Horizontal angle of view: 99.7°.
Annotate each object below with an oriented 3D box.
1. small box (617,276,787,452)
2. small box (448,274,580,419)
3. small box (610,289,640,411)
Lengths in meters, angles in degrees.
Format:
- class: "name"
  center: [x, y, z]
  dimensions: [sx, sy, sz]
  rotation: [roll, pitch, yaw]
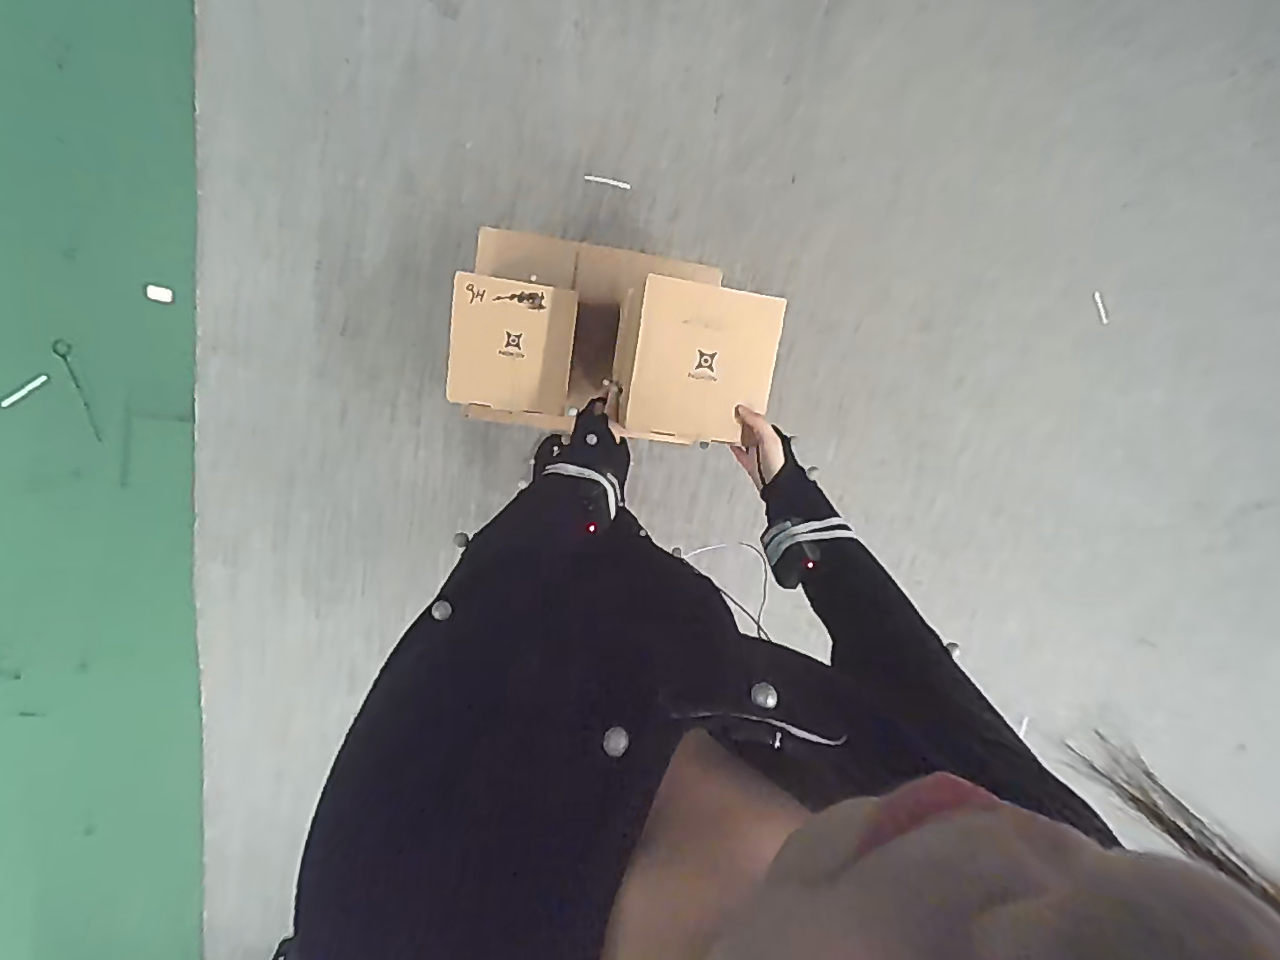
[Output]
- class: "small box"
  center: [0.065, -0.144, 0.693]
  dimensions: [0.168, 0.176, 0.179]
  rotation: [8, 100, -9]
- class: "small box"
  center: [-0.184, -0.200, 0.819]
  dimensions: [0.168, 0.176, 0.179]
  rotation: [6, 104, -11]
- class: "small box"
  center: [0.046, -0.189, 0.851]
  dimensions: [0.168, 0.176, 0.179]
  rotation: [7, 102, -8]
